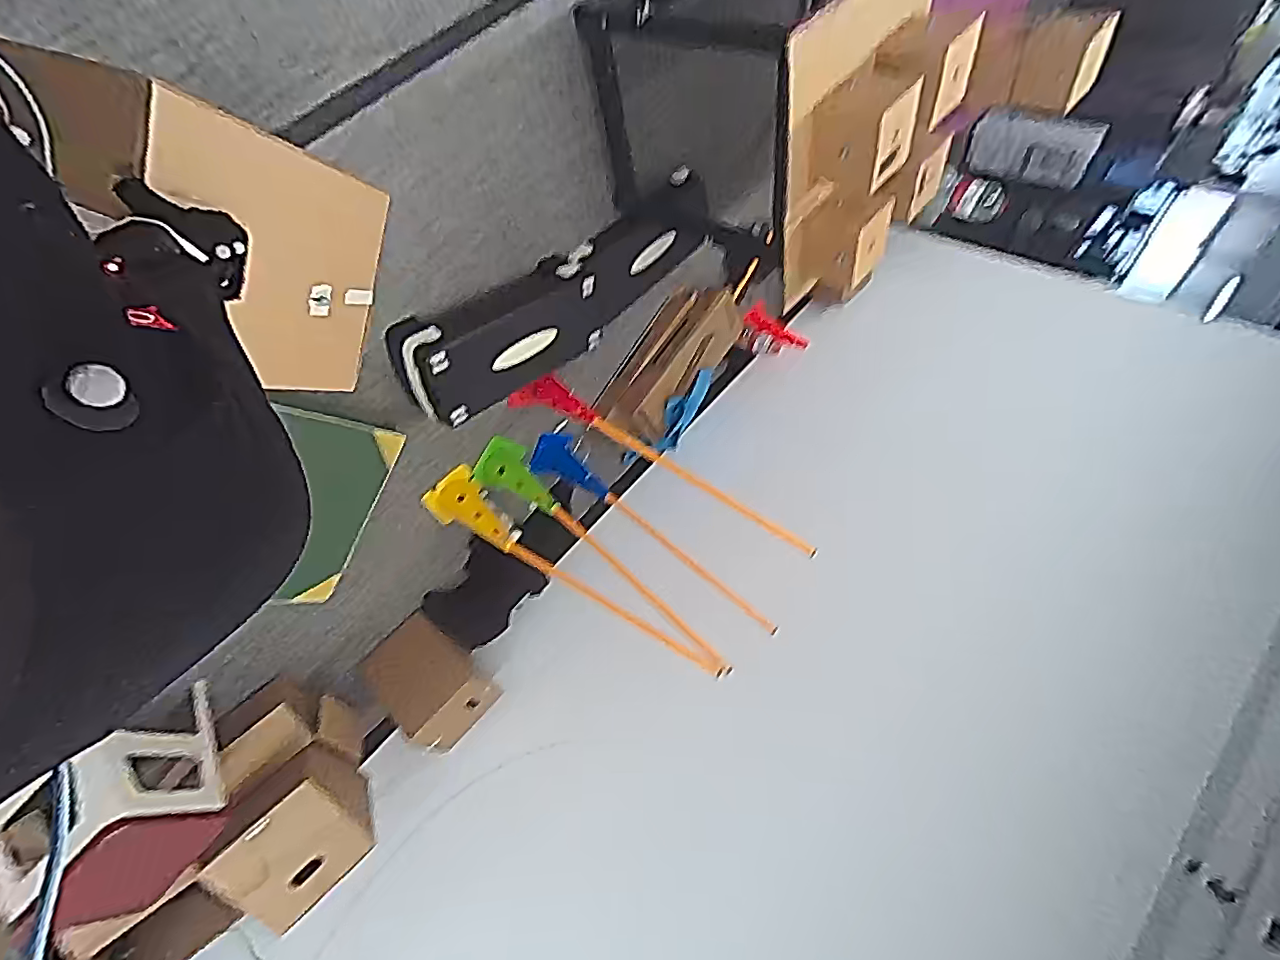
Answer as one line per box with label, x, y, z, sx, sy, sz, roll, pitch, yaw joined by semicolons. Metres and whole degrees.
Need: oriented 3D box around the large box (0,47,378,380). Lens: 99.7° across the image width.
large box;-0.652;-0.344;0.763;0.320;0.408;0.320;-20;129;-68
